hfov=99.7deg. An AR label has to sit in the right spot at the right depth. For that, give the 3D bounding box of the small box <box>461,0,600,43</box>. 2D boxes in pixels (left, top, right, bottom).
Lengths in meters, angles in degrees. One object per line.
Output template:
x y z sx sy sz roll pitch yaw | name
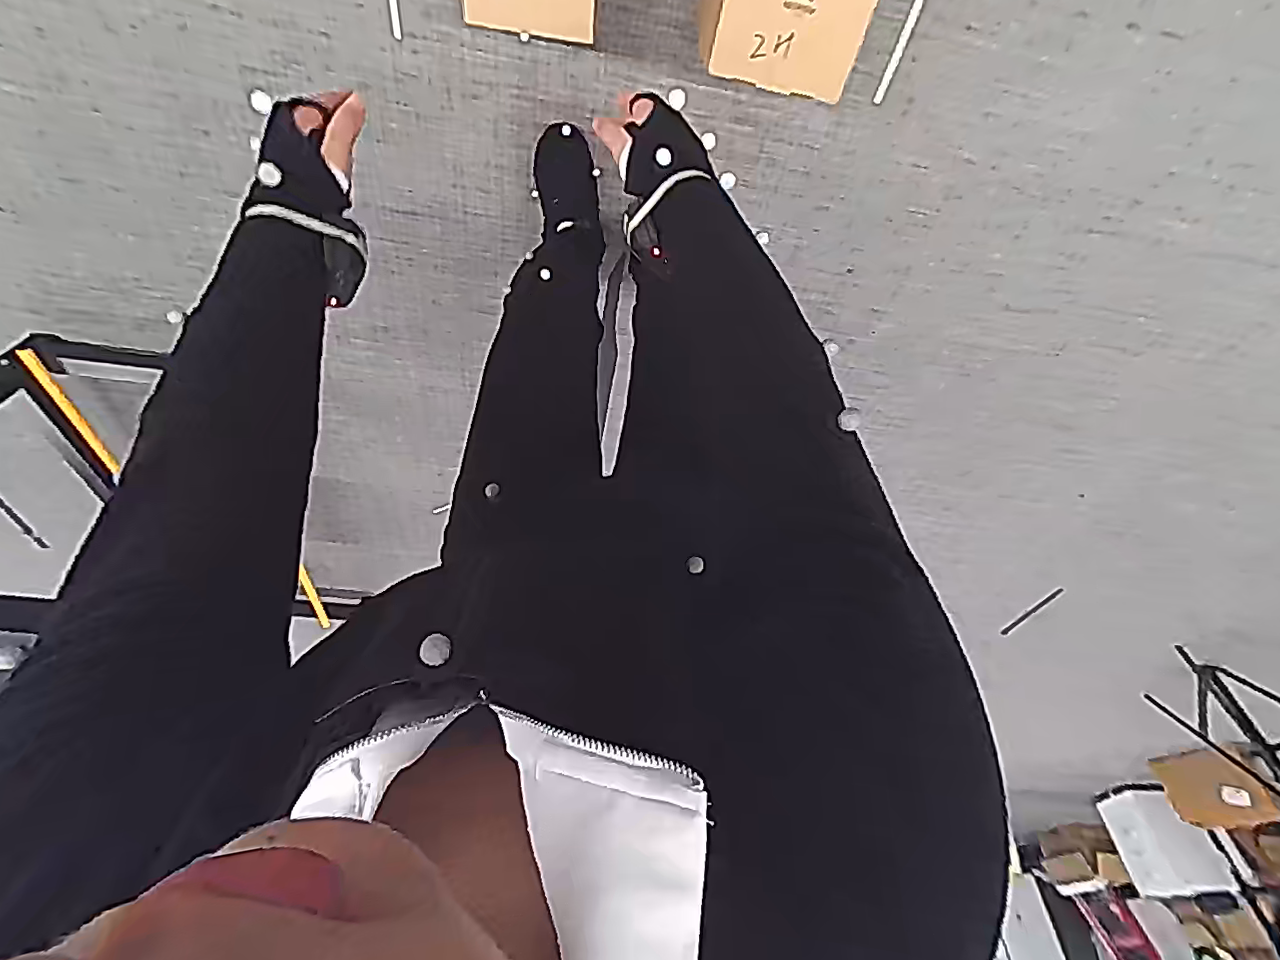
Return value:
-0.141 -0.724 0.733 0.179 0.176 0.168 5 137 -6 | small box

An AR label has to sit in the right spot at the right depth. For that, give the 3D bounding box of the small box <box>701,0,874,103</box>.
0.173 -0.585 0.637 0.168 0.176 0.179 8 137 -8 | small box
